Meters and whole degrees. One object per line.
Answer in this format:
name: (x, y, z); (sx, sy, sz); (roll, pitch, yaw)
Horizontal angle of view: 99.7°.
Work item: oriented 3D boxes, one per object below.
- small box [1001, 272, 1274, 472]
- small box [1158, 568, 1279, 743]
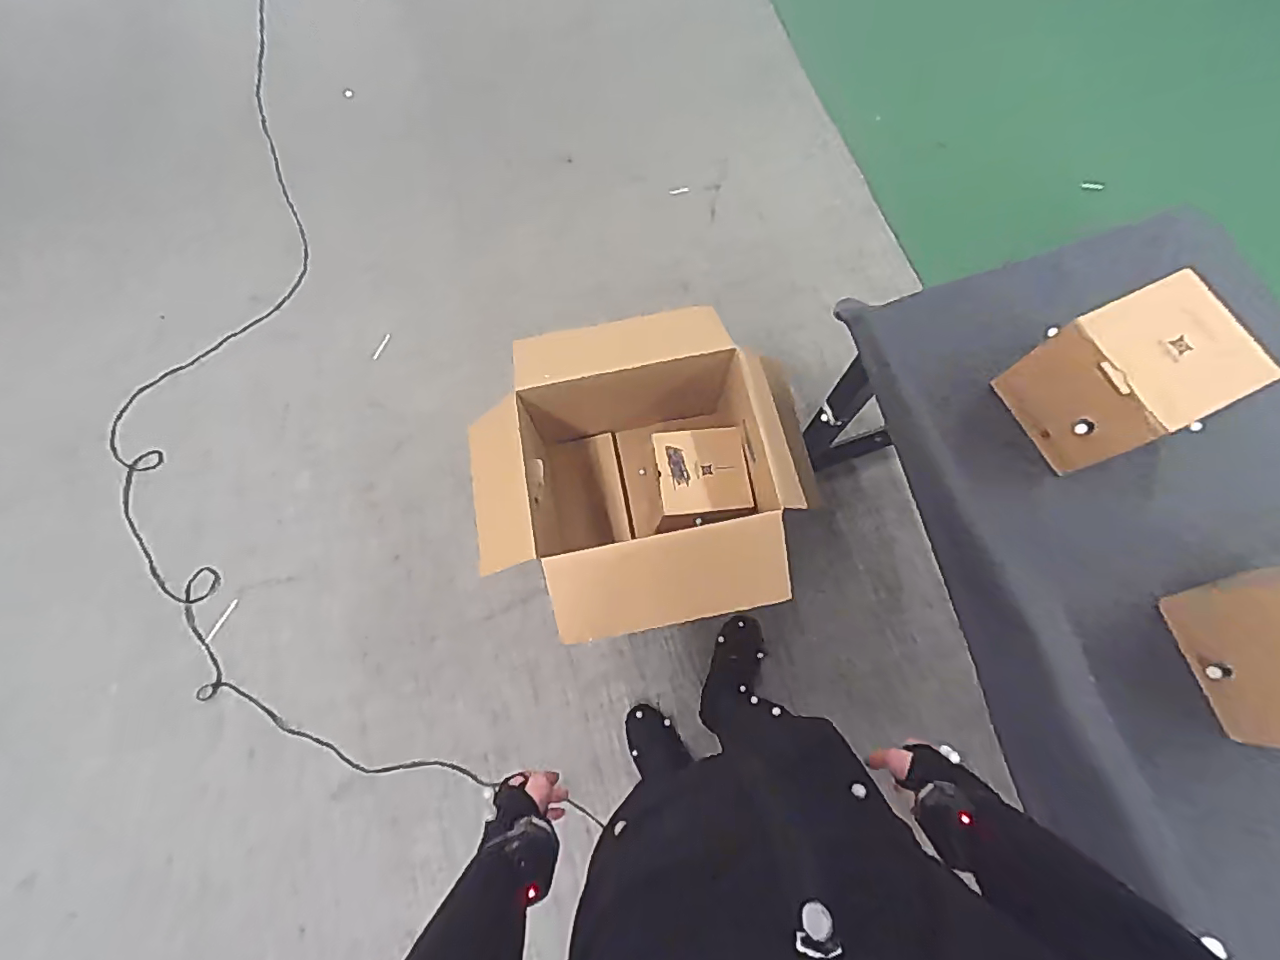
small box: (0.626, -0.131, 0.714); (0.179, 0.176, 0.168); (-24, 76, -8)
small box: (0.767, 0.195, 0.611); (0.168, 0.176, 0.179); (-15, 74, -3)
